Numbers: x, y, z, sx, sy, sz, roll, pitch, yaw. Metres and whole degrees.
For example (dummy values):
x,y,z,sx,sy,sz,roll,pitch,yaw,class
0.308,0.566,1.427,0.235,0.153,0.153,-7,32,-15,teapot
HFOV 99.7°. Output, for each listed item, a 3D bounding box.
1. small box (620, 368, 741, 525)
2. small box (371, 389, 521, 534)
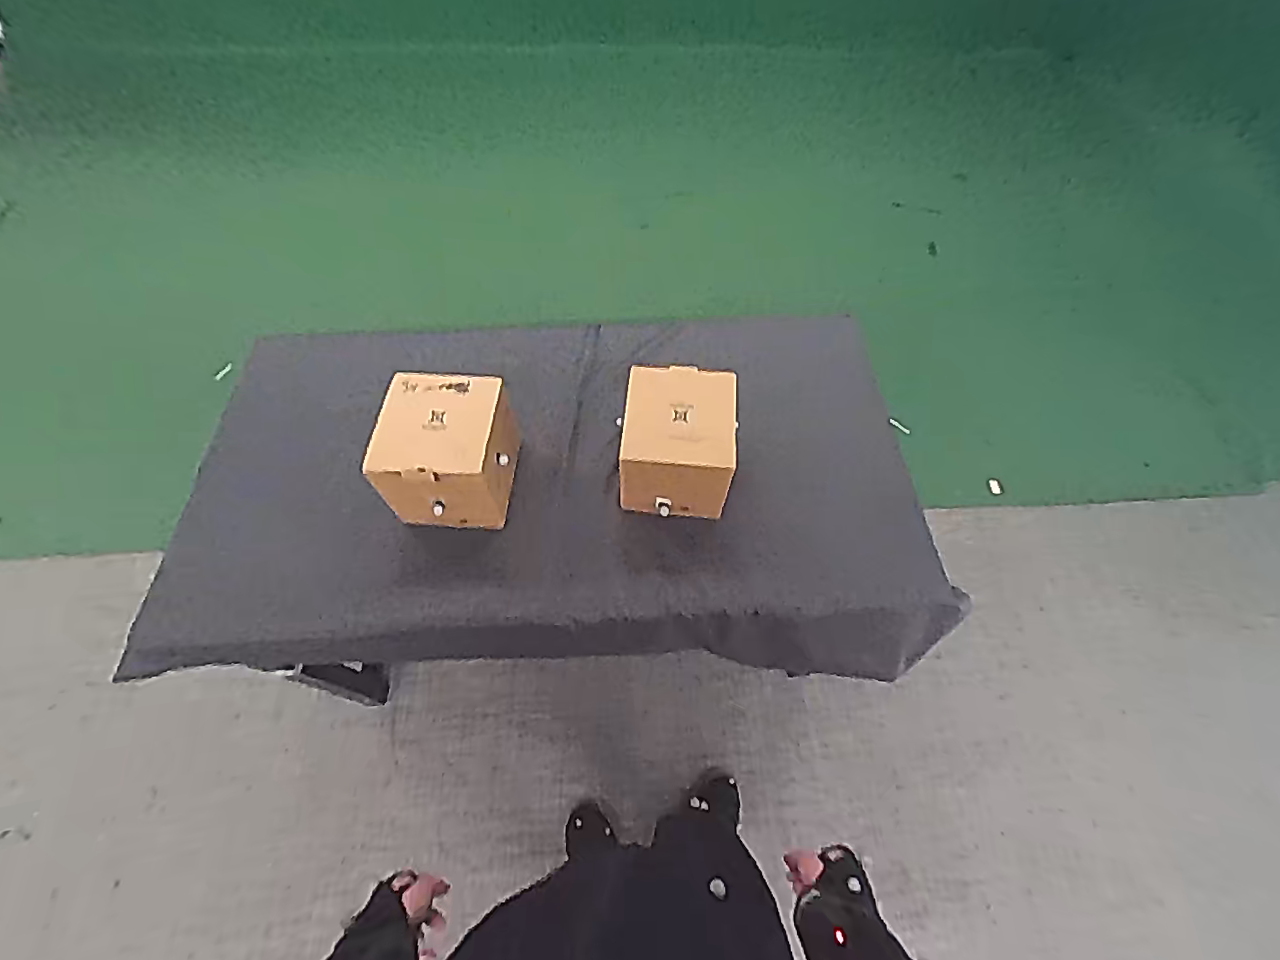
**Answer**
x,y,z,sx,sy,sz,roll,pitch,yaw,class
0.063,-0.049,0.854,0.168,0.176,0.179,5,59,4,small box
-0.290,-0.023,0.853,0.168,0.176,0.179,0,58,0,small box
